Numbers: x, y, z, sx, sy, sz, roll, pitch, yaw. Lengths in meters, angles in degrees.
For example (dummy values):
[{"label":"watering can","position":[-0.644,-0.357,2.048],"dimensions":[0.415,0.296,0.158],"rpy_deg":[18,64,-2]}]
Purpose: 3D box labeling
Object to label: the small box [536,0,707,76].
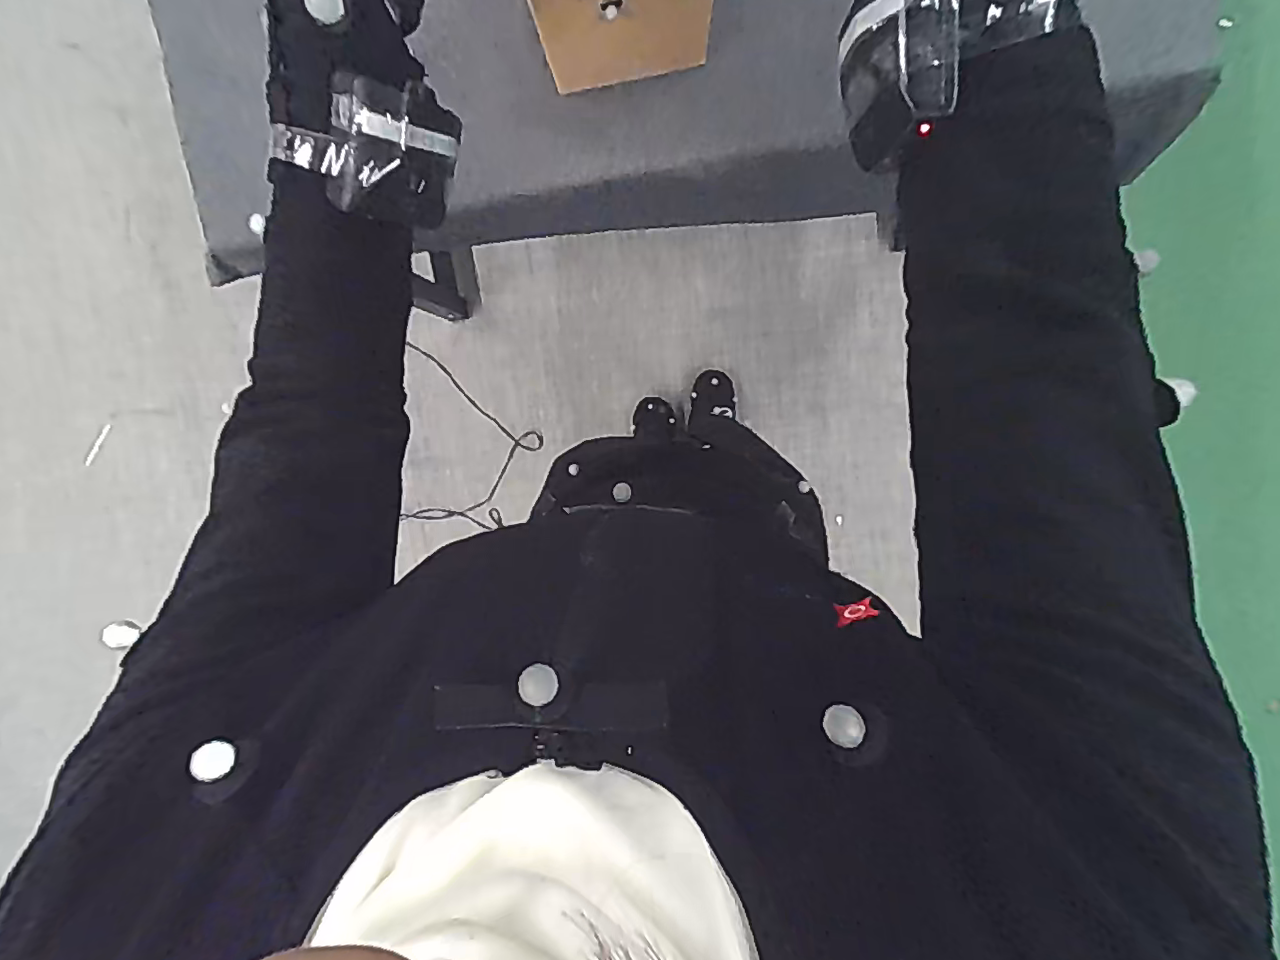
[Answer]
[{"label":"small box","position":[-0.027,-0.547,0.540],"dimensions":[0.179,0.176,0.168],"rpy_deg":[-8,98,5]}]
